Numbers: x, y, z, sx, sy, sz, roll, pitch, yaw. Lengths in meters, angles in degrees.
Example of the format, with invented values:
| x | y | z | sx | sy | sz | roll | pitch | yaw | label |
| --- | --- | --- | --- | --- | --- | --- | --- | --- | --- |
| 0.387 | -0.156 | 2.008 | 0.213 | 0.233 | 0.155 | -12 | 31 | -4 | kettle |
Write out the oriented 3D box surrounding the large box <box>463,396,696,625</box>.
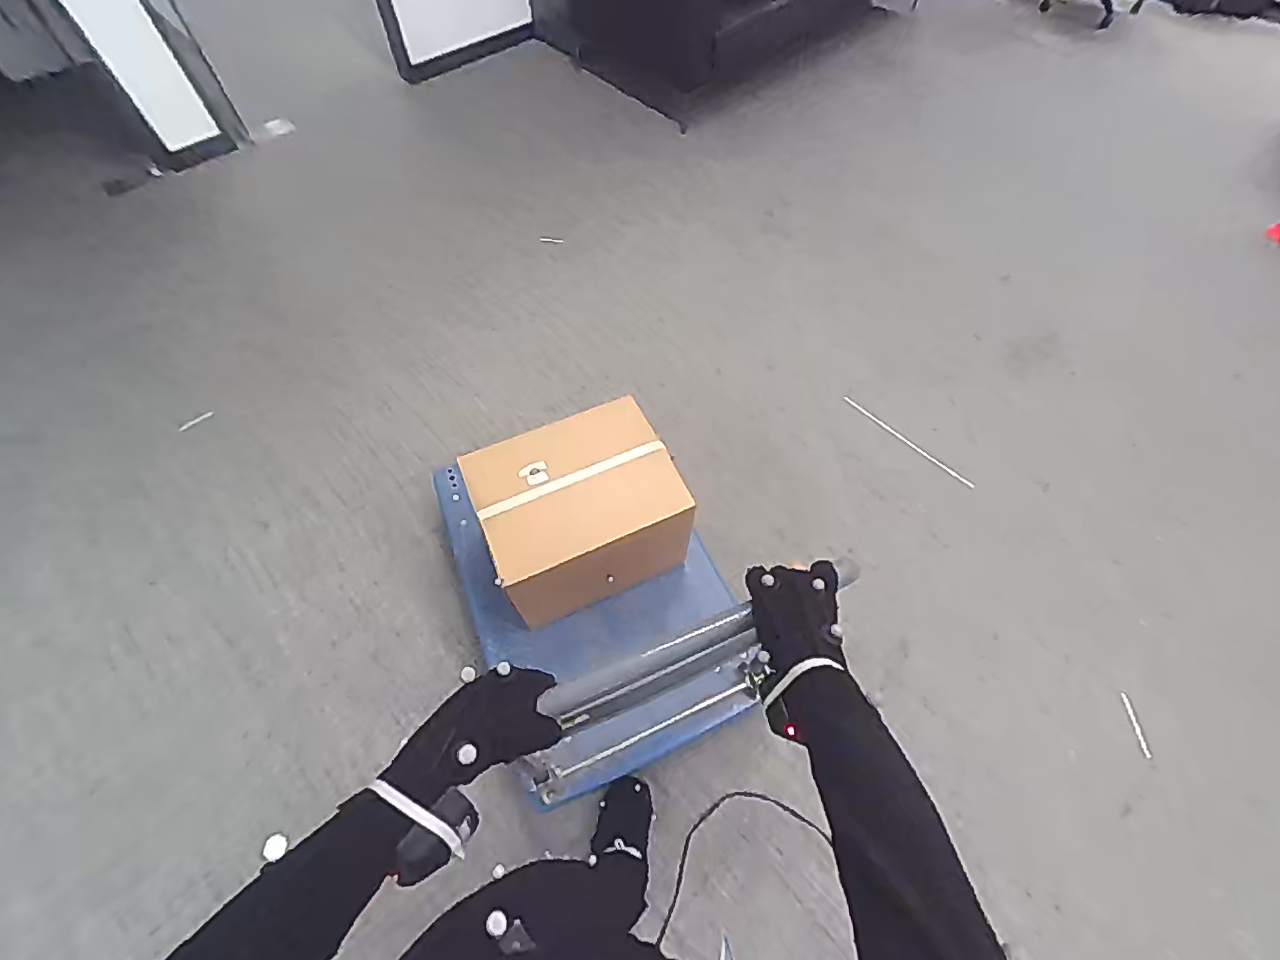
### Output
| x | y | z | sx | sy | sz | roll | pitch | yaw | label |
| --- | --- | --- | --- | --- | --- | --- | --- | --- | --- |
| -0.129 | 0.077 | 1.237 | 0.408 | 0.320 | 0.320 | -23 | 63 | -13 | large box |
